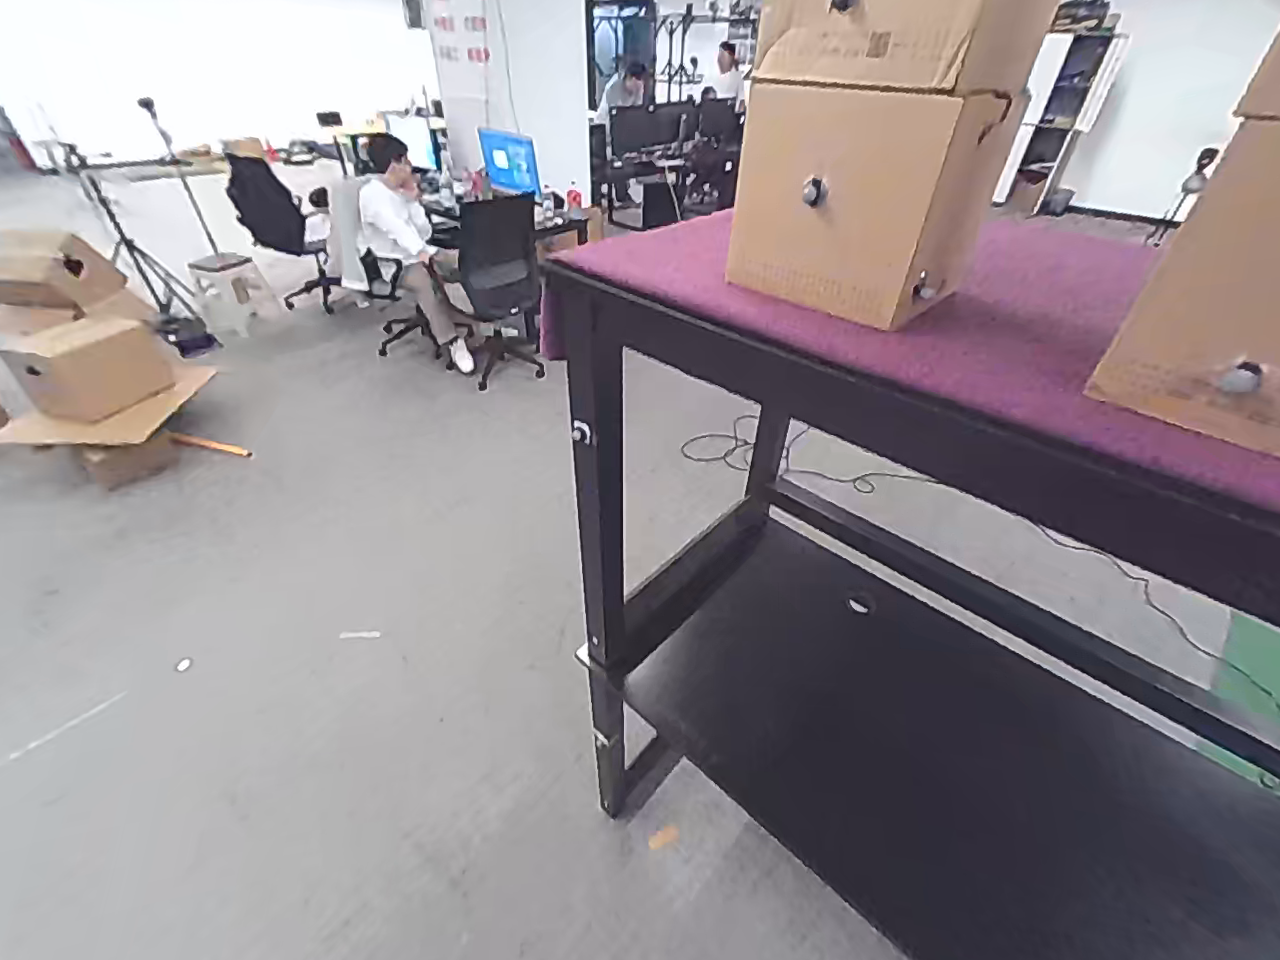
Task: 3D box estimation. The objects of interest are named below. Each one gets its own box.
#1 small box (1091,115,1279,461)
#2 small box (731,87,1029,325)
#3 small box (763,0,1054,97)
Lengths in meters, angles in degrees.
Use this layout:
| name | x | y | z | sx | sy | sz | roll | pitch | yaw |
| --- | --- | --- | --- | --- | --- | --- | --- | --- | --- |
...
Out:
| name | x | y | z | sx | sy | sz | roll | pitch | yaw |
| --- | --- | --- | --- | --- | --- | --- | --- | --- | --- |
| small box | 0.427 | -0.120 | 0.332 | 0.179 | 0.176 | 0.168 | -31 | 47 | -34 |
| small box | 0.205 | -0.256 | 0.498 | 0.179 | 0.176 | 0.168 | 30 | 46 | 33 |
| small box | 0.212 | -0.391 | 0.406 | 0.168 | 0.176 | 0.179 | 31 | 46 | 32 |
